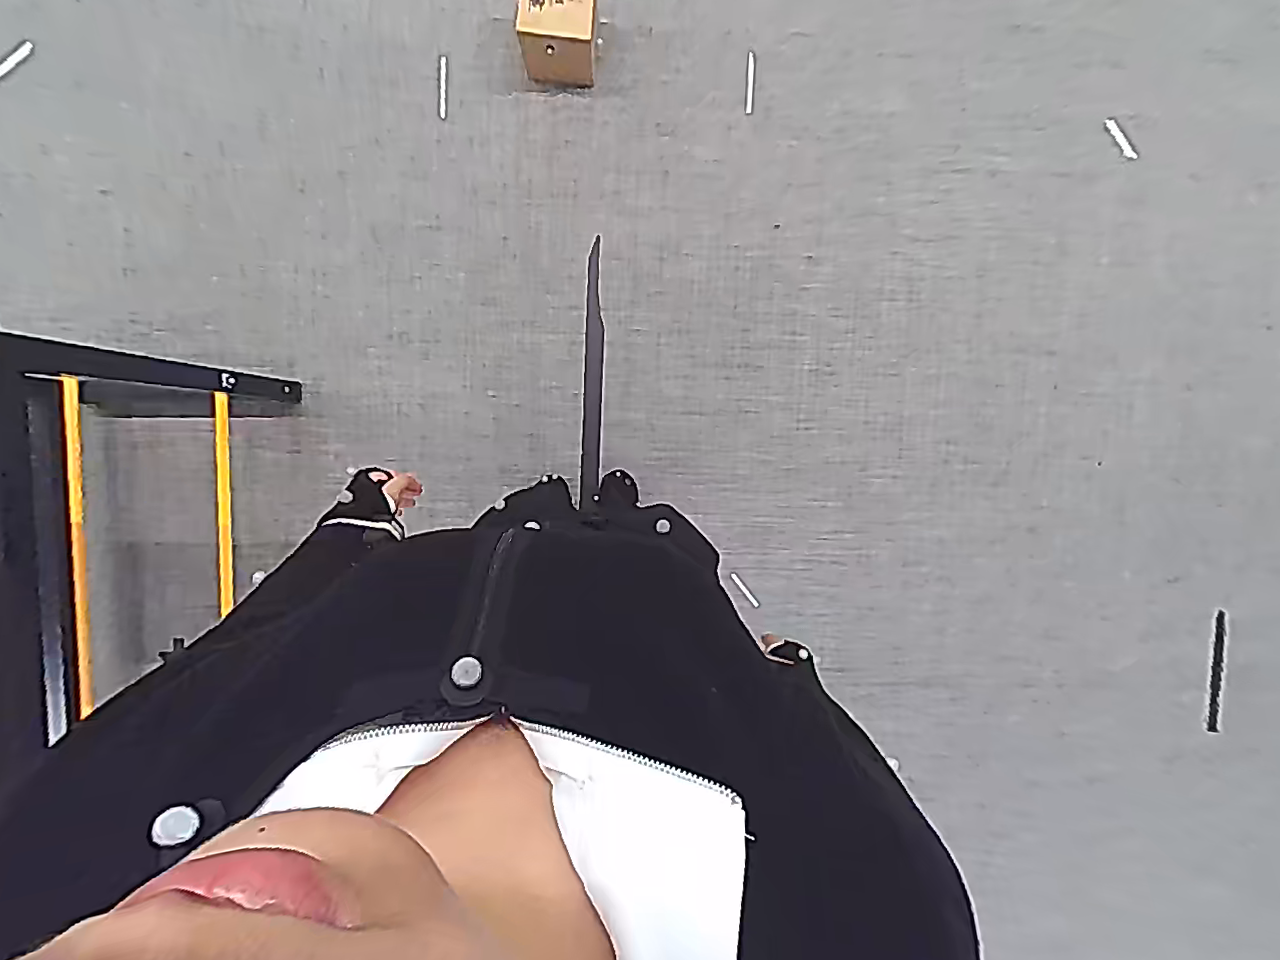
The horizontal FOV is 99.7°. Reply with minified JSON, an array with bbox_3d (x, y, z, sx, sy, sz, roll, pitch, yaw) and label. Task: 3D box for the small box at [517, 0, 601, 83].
[{"bbox_3d":[-0.191,-1.108,1.316,0.179,0.176,0.168,5,94,-3],"label":"small box"}]
